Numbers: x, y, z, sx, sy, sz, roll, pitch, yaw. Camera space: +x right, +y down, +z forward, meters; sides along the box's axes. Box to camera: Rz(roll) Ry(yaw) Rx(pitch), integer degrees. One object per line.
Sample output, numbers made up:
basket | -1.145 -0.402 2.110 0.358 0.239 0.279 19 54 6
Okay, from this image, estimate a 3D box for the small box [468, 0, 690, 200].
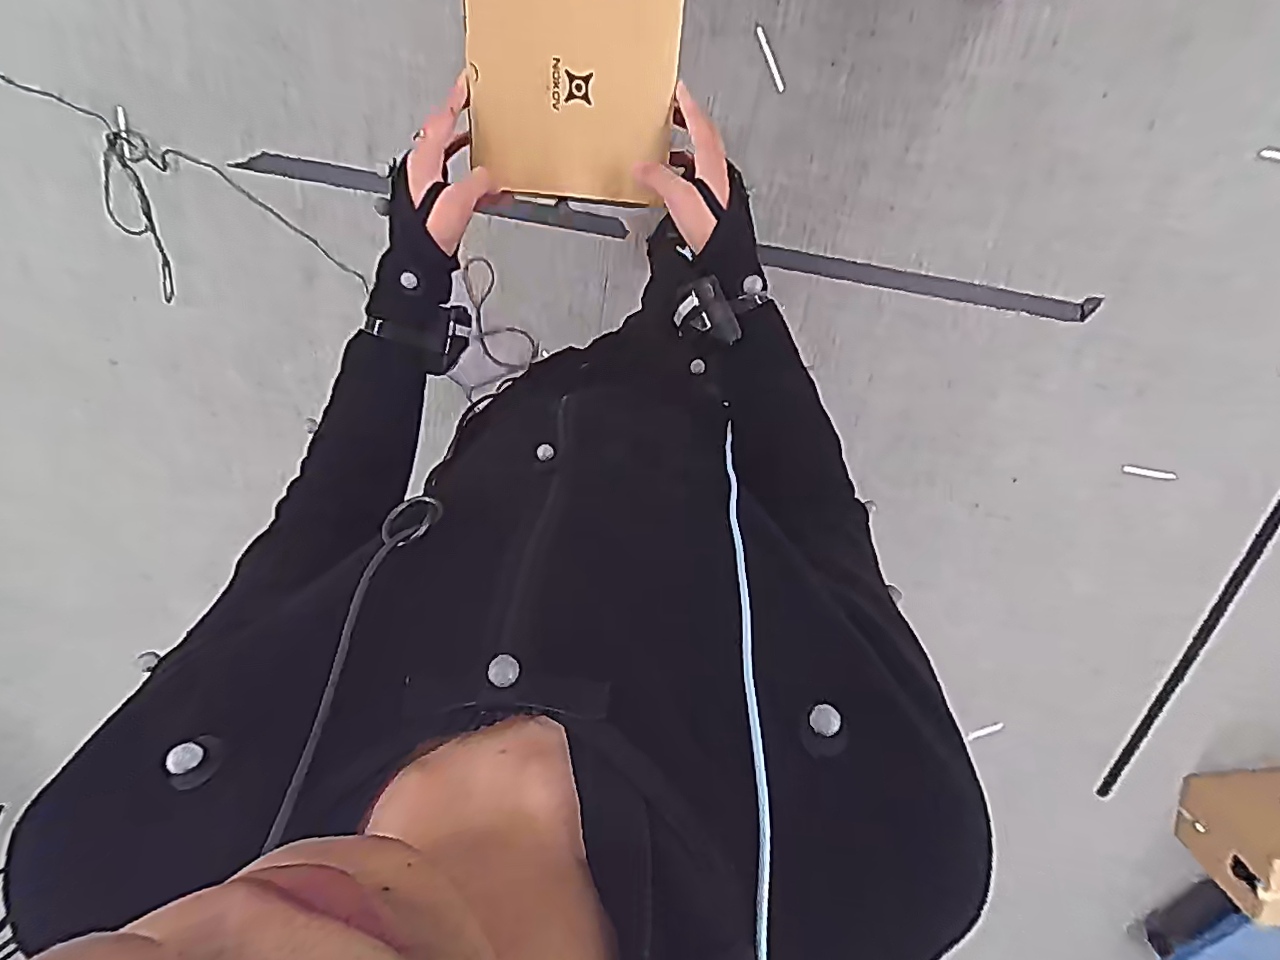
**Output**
small box | -0.061 -0.371 0.520 0.179 0.176 0.168 2 117 -7
